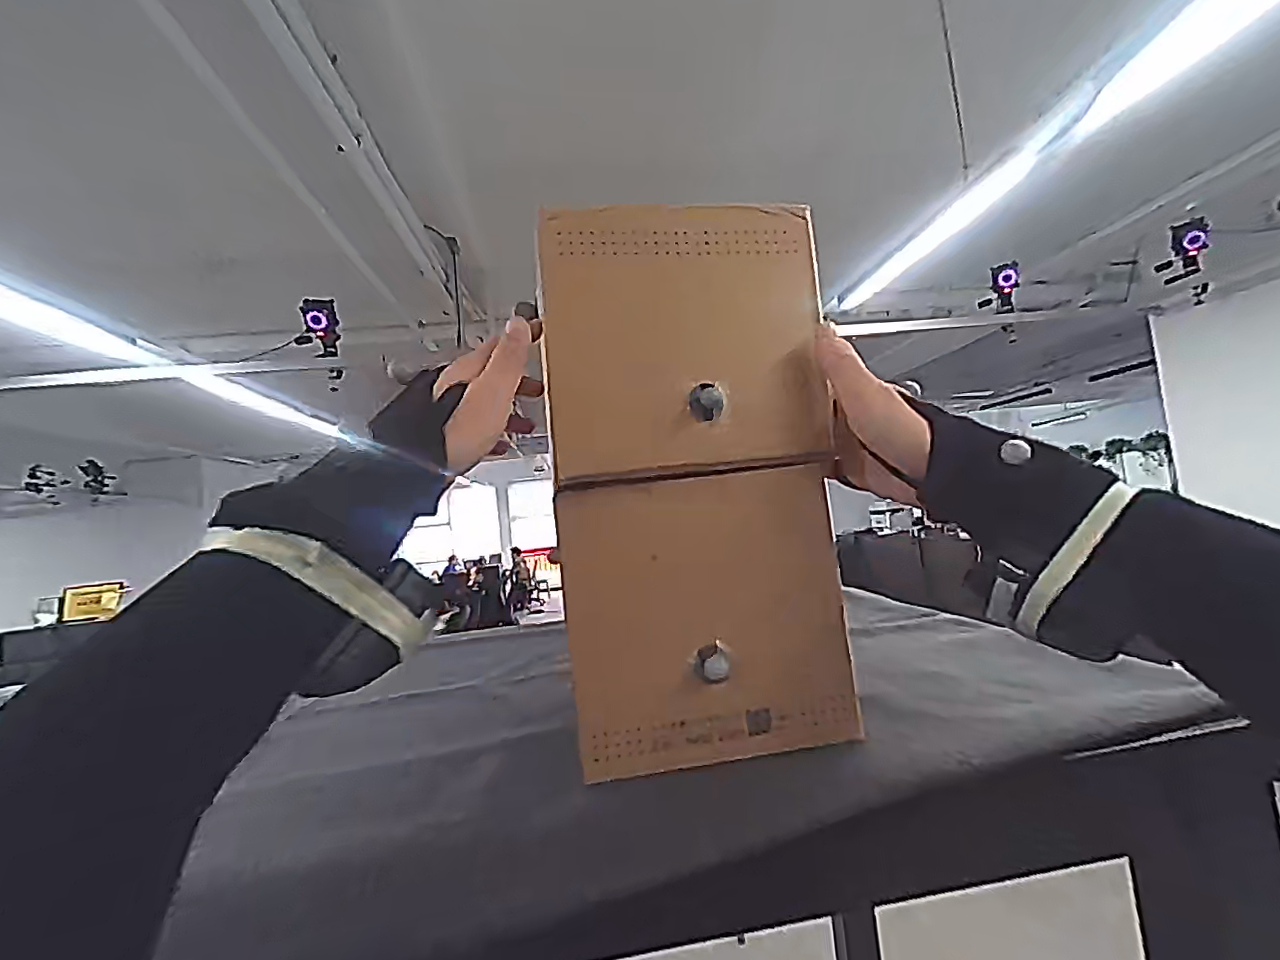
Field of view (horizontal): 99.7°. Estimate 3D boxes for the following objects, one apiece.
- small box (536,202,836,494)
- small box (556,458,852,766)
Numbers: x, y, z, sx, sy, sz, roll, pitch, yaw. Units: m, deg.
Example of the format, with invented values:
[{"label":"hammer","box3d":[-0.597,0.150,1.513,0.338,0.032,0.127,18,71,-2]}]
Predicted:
[{"label":"small box","box3d":[0.018,-0.083,0.403,0.179,0.176,0.168,-4,-6,-9]},{"label":"small box","box3d":[0.033,0.085,0.400,0.168,0.176,0.179,-7,-5,-5]}]
